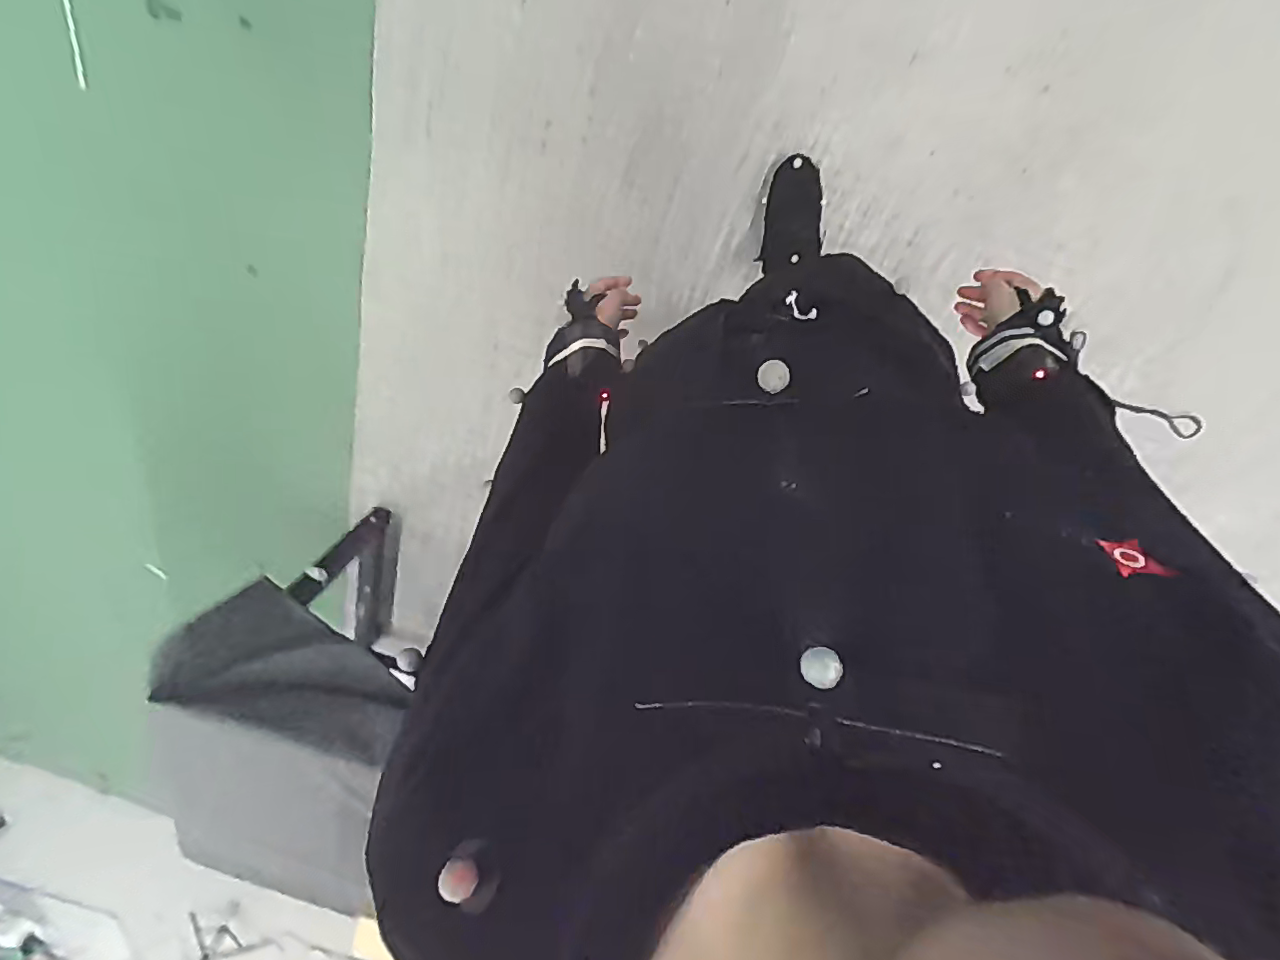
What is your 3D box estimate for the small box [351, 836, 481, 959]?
[{"bbox_3d":[-0.414,0.813,1.011,0.168,0.176,0.179,19,118,-4],"label":"small box"}]
